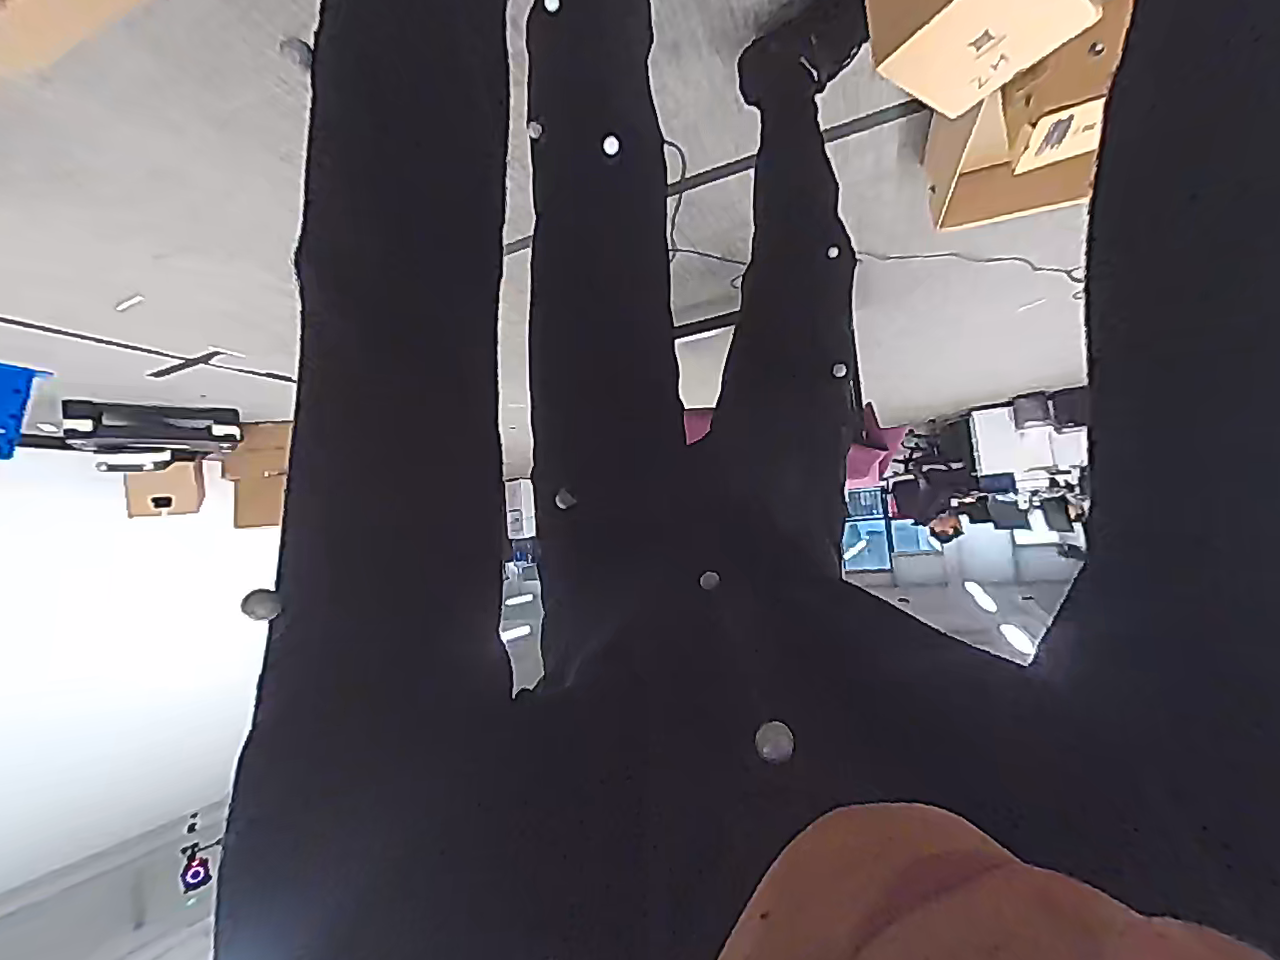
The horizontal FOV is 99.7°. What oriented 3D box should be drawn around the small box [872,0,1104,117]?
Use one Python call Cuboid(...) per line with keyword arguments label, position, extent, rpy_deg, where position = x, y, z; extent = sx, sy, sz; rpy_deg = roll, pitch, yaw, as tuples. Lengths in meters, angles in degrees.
Cuboid(label="small box", position=(0.382, -0.572, 0.615), extent=(0.179, 0.176, 0.168), rpy_deg=(-2, 174, -32))
